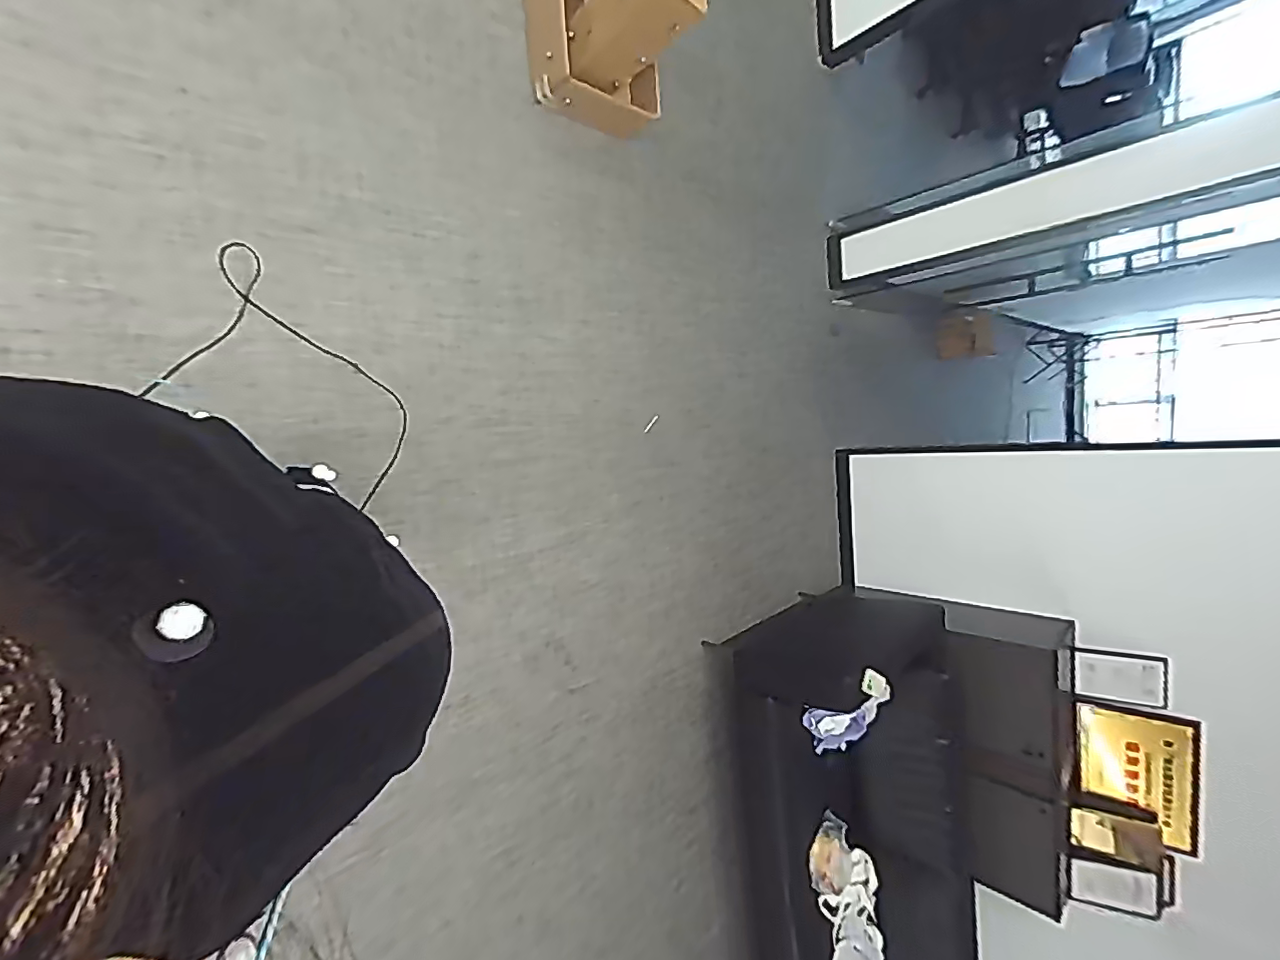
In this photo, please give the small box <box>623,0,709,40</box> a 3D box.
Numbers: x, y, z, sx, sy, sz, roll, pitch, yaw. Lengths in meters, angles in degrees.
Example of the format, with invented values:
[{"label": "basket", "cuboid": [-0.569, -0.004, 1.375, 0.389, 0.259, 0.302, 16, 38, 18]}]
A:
[{"label": "small box", "cuboid": [0.070, -1.371, 1.492, 0.179, 0.176, 0.168, -6, 95, -42]}]
